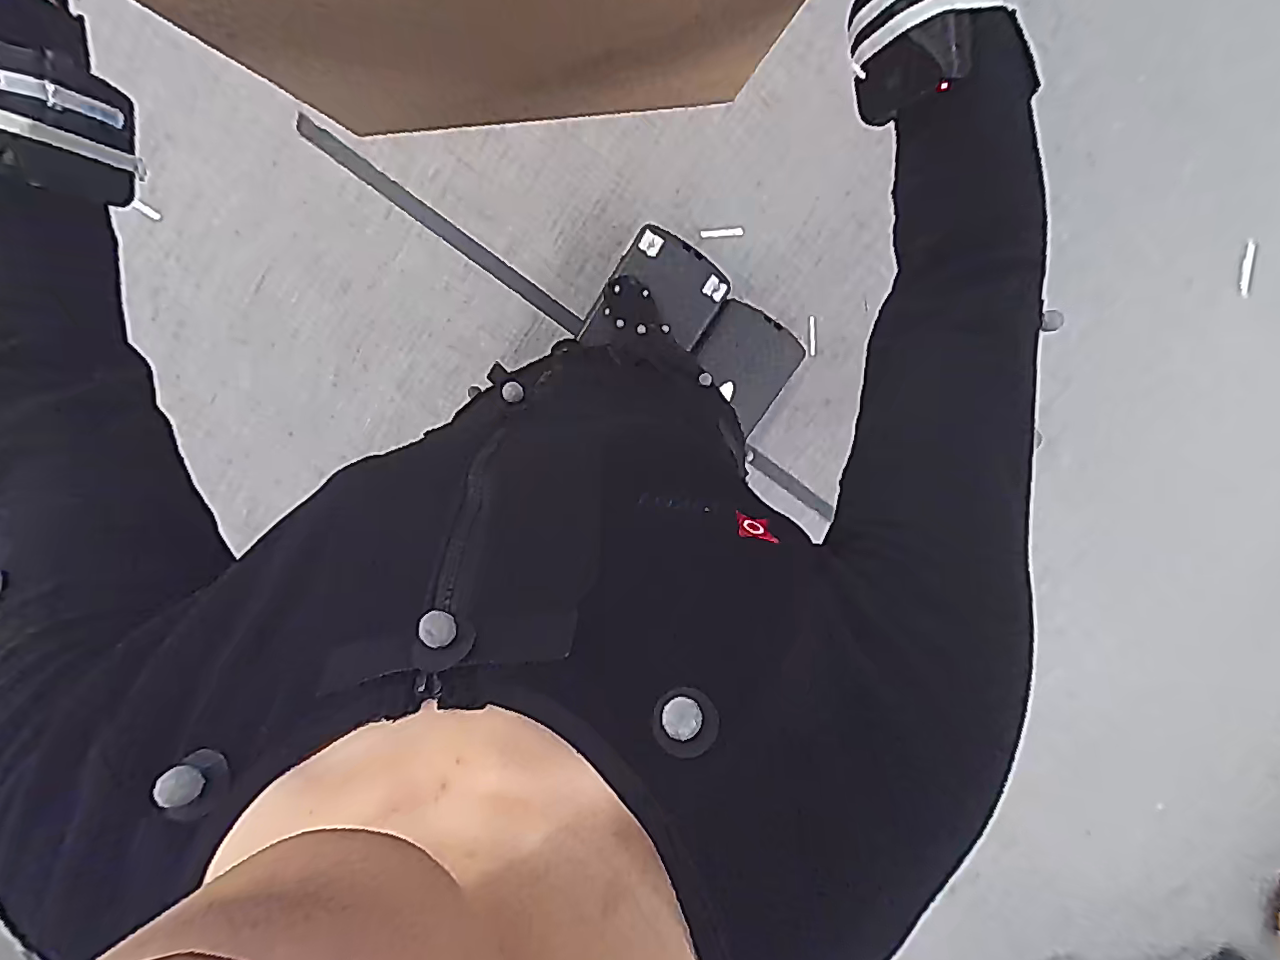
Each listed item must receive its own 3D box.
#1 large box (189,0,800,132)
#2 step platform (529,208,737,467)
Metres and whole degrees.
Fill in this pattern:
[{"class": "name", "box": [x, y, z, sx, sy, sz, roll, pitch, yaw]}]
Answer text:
[{"class": "large box", "box": [-0.096, -0.483, 0.387, 0.408, 0.320, 0.320, -6, 111, -2]}, {"class": "step platform", "box": [-0.030, -0.375, 1.495, 0.286, 0.204, 0.684, 31, 102, -11]}]
